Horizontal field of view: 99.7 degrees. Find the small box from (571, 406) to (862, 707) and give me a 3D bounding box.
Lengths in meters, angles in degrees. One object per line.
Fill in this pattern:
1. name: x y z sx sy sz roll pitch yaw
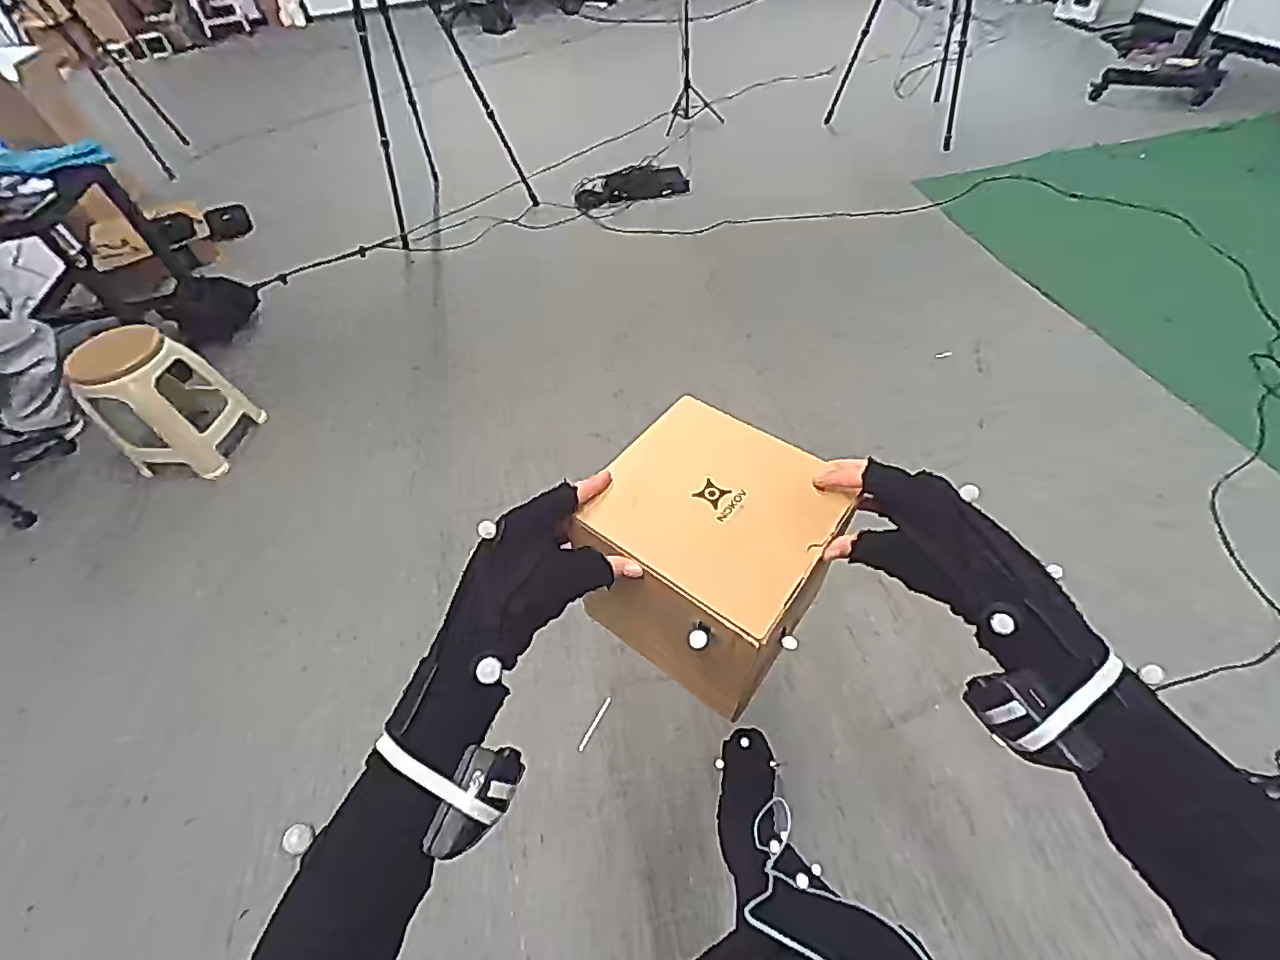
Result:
1. small box: 0.062 0.070 0.487 0.179 0.176 0.168 31 57 24
